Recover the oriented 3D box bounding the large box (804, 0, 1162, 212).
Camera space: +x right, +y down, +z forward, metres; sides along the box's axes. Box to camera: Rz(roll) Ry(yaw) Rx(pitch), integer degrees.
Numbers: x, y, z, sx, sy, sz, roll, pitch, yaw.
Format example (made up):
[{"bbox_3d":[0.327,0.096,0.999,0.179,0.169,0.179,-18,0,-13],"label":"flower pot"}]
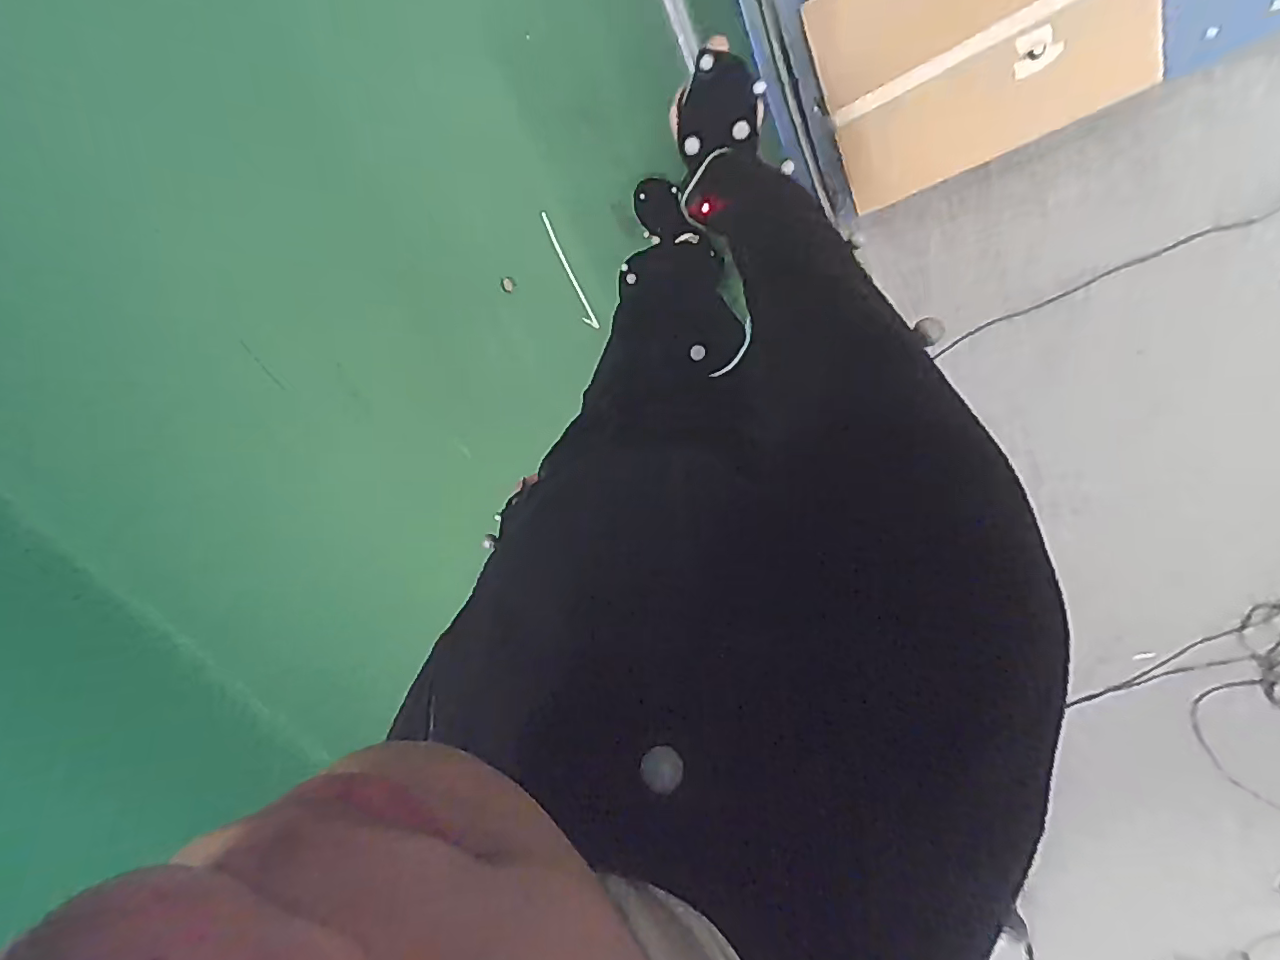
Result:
[{"bbox_3d":[0.517,-0.708,0.889,0.408,0.320,0.320,-17,119,27],"label":"large box"}]
